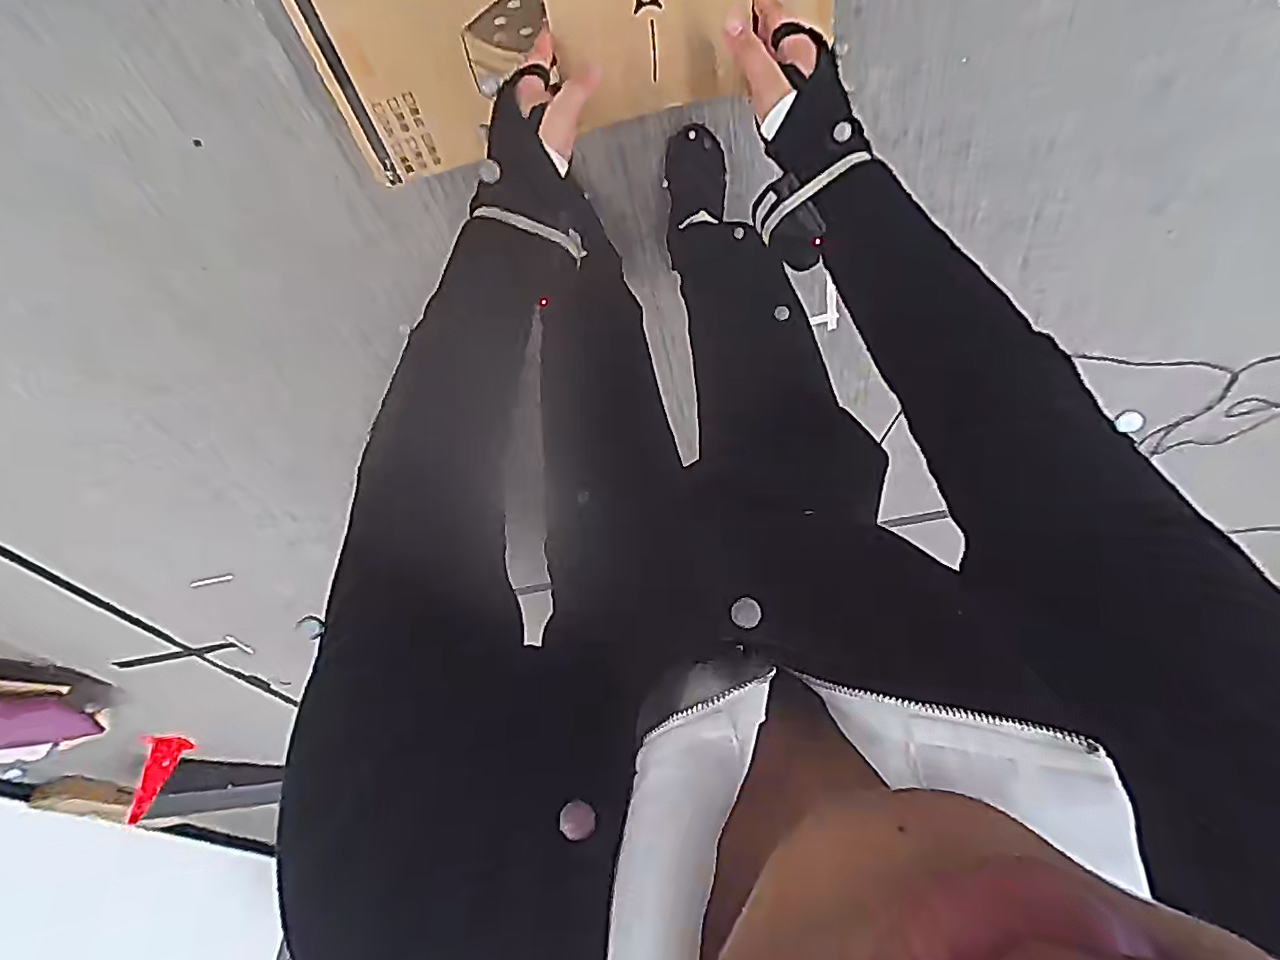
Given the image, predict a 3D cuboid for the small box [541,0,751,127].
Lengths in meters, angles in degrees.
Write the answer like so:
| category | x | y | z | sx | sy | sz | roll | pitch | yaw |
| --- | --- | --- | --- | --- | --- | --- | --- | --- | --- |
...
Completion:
| category | x | y | z | sx | sy | sz | roll | pitch | yaw |
| --- | --- | --- | --- | --- | --- | --- | --- | --- | --- |
| small box | -0.001 | -0.438 | 0.475 | 0.168 | 0.176 | 0.179 | -9 | 131 | 5 |
